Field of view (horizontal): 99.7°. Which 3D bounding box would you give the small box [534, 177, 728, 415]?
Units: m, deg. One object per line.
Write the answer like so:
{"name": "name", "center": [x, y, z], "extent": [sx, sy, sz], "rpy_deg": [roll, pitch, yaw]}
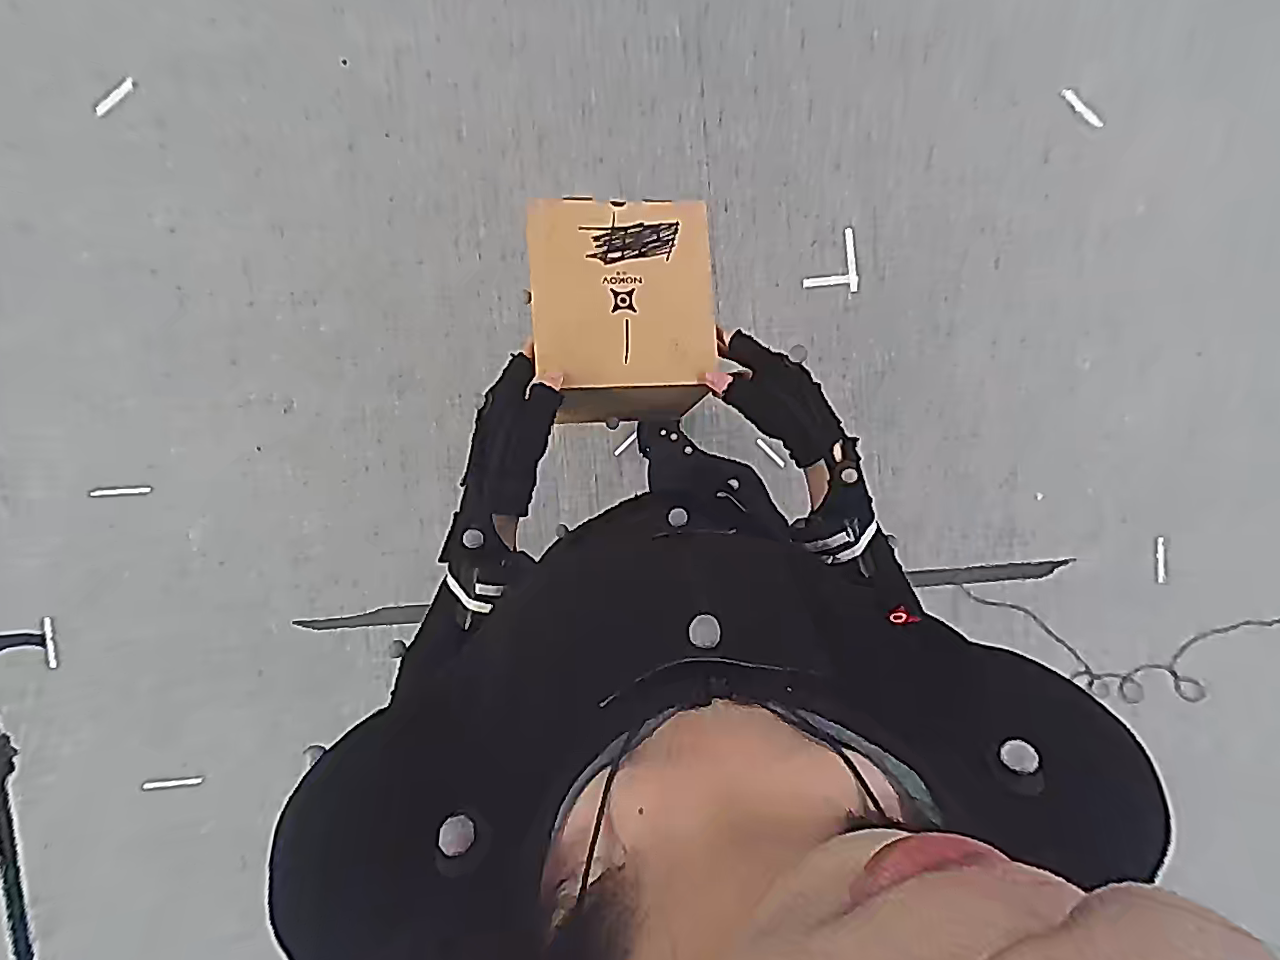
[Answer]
{"name": "small box", "center": [-0.019, -0.171, 0.548], "extent": [0.168, 0.176, 0.179], "rpy_deg": [-3, 86, -8]}
